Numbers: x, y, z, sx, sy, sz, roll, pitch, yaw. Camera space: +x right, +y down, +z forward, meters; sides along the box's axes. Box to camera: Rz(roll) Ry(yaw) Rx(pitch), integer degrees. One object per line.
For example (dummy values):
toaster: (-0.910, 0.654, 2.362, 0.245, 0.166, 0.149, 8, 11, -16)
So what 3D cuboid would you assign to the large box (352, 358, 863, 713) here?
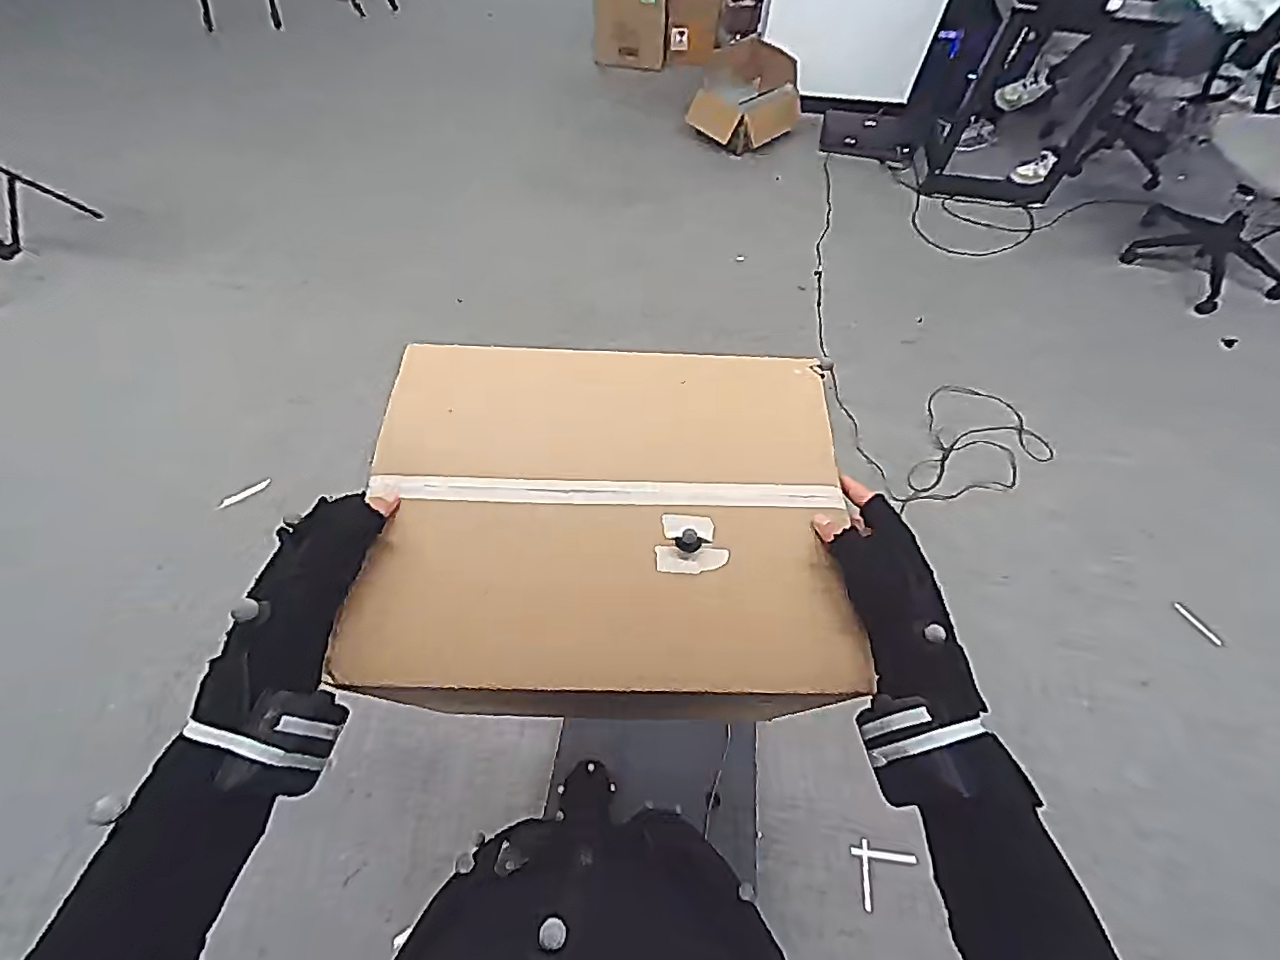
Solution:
large box: (-0.029, 0.085, 0.614, 0.408, 0.320, 0.320, 2, 63, -2)
